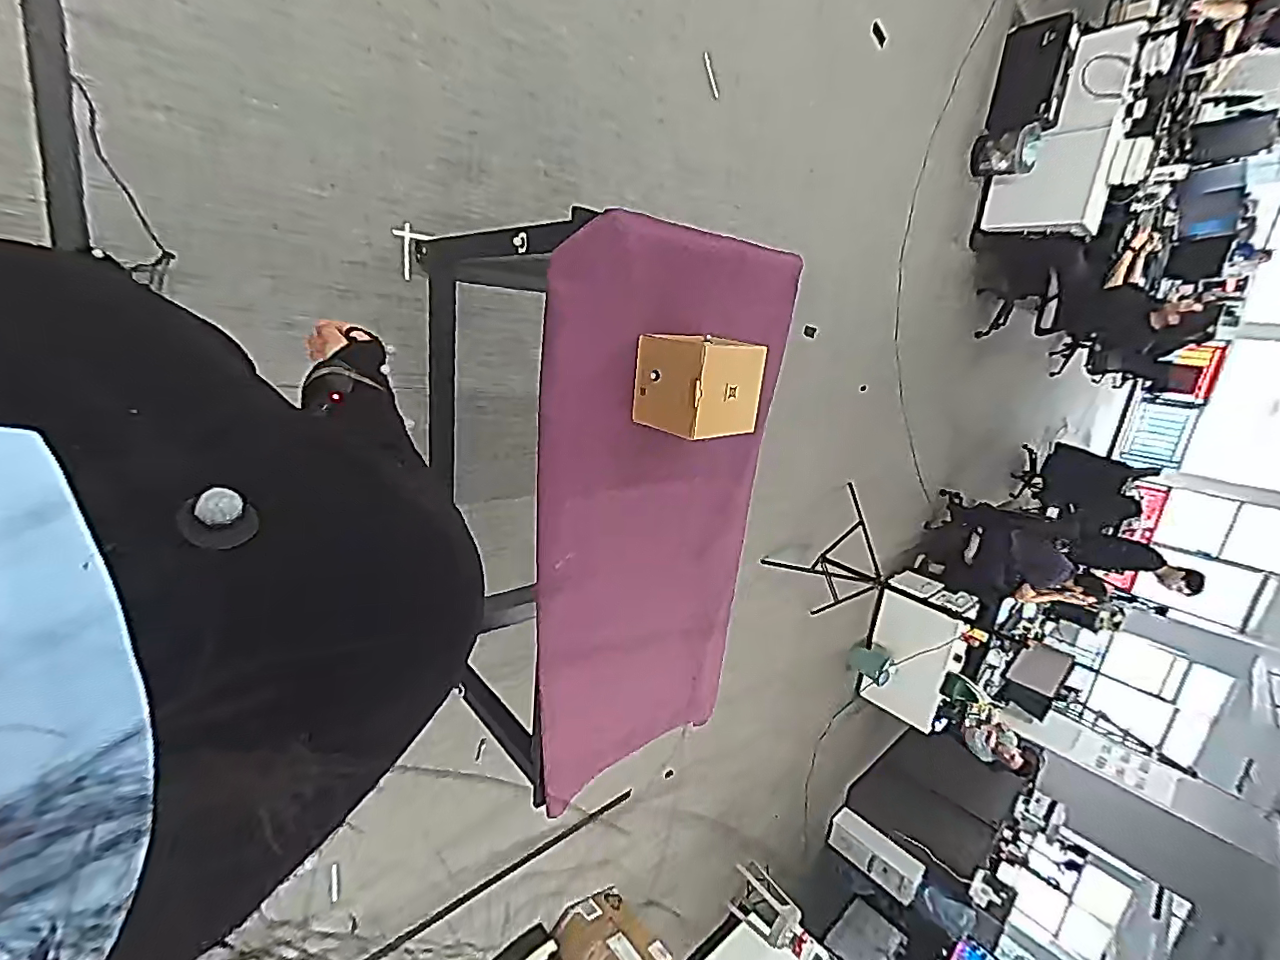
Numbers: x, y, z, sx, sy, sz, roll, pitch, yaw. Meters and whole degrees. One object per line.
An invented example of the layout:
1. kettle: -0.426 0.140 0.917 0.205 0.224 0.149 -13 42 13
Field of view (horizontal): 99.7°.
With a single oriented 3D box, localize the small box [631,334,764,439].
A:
1. small box: 0.107 -0.185 1.033 0.179 0.176 0.168 -11 115 -40
